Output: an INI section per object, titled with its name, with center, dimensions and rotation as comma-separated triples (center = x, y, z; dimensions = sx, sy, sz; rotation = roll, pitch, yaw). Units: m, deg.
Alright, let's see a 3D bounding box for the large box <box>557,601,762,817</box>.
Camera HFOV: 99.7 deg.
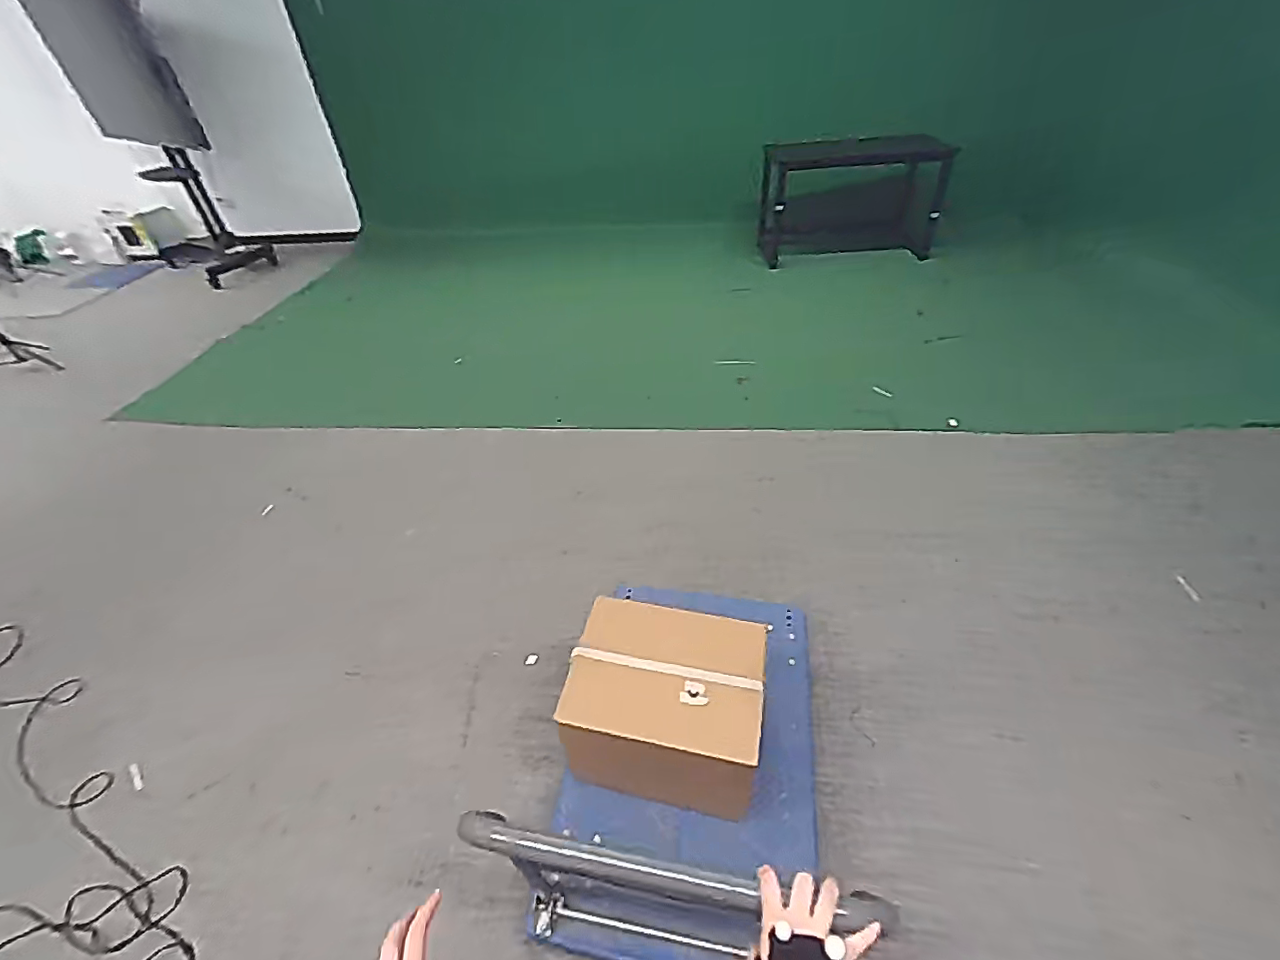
[large box]
center = 0.055, 0.526, 1.261
dimensions = 0.408, 0.320, 0.320
rotation = 8, 42, 11
